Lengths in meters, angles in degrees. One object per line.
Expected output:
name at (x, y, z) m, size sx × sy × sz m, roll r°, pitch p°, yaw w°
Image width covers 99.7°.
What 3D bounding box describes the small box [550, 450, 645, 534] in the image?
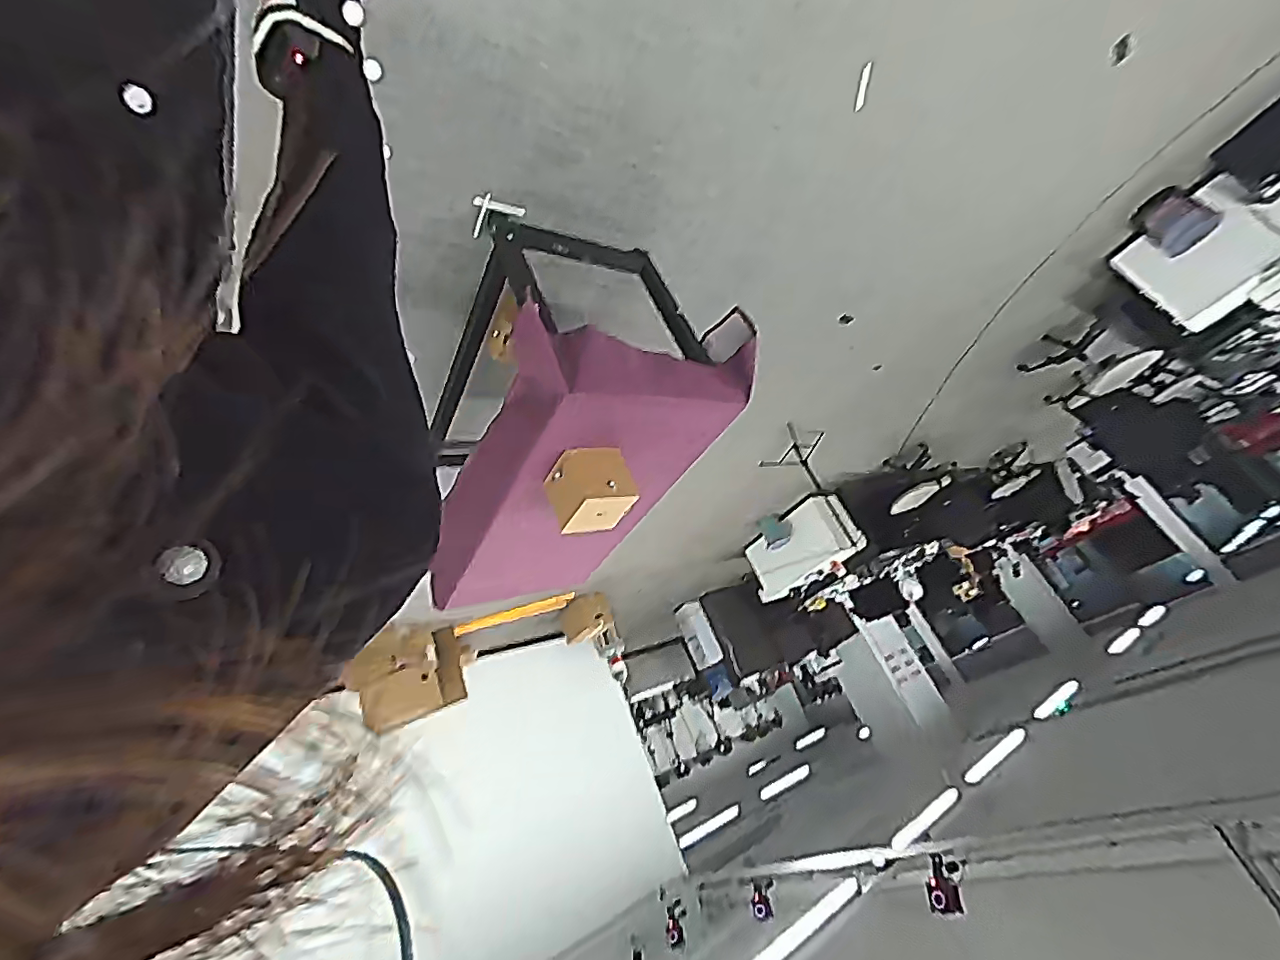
small box at (-0.120, 0.030, 1.472) m, size 0.179 × 0.176 × 0.168 m, roll -2°, pitch 146°, yaw -37°
